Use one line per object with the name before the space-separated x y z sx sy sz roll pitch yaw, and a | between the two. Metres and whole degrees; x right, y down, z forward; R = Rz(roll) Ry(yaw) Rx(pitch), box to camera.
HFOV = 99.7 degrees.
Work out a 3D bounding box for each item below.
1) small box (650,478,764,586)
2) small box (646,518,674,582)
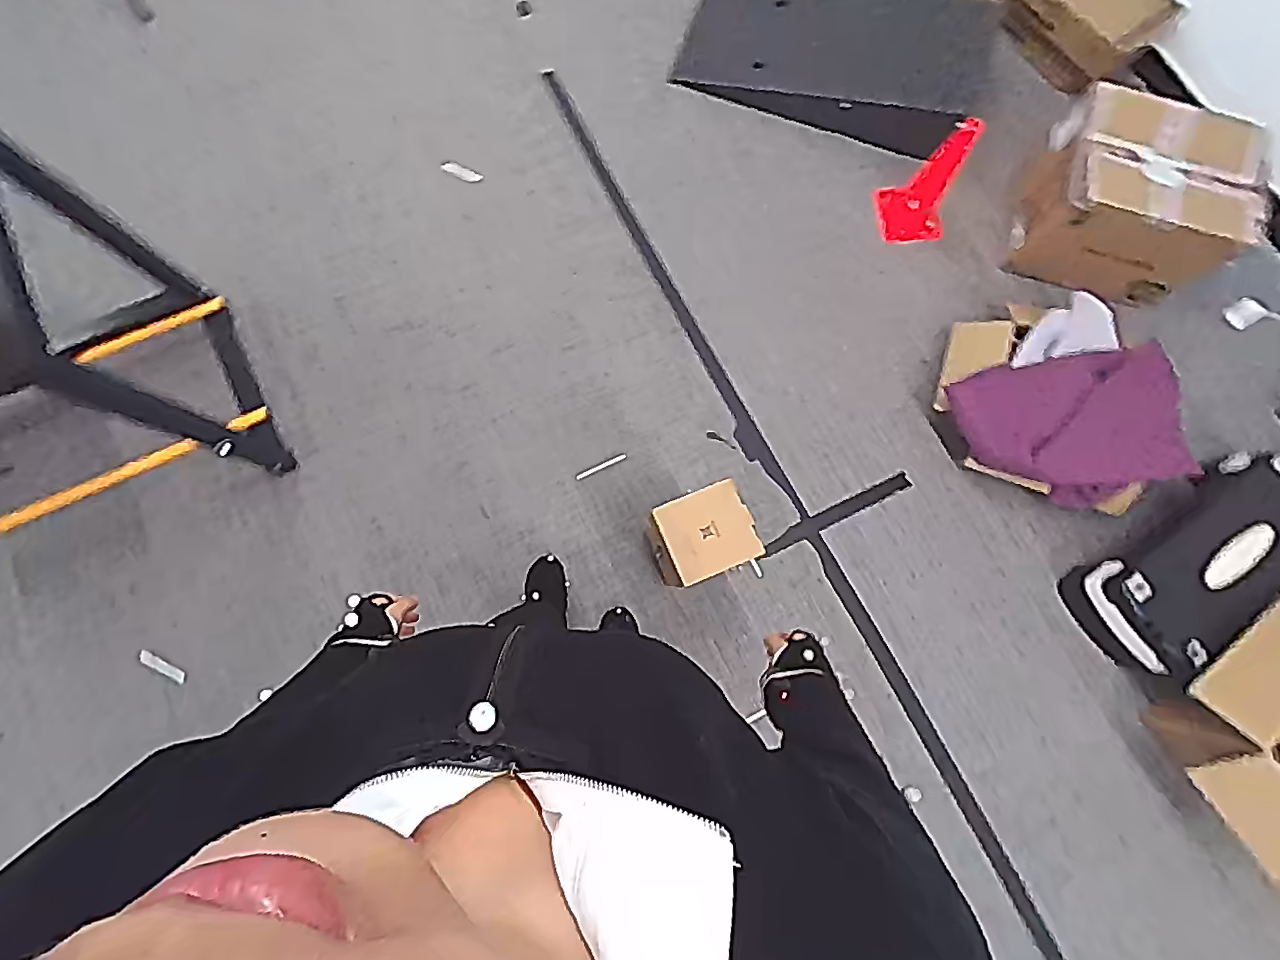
small box | 0.130 0.113 1.132 0.179 0.176 0.168 -22 80 -6
small box | 0.121 0.167 1.456 0.168 0.176 0.179 -22 81 -6
